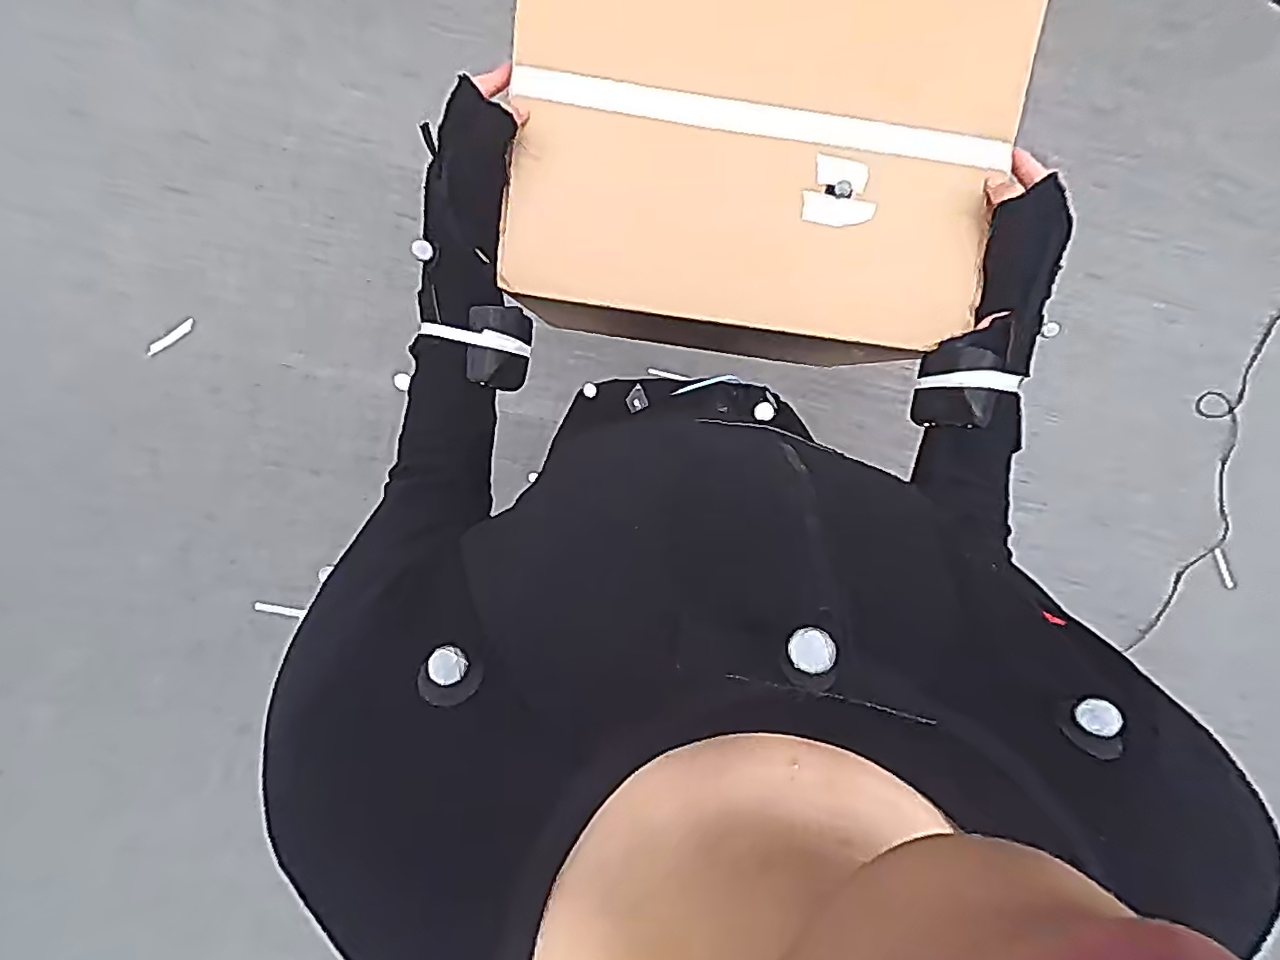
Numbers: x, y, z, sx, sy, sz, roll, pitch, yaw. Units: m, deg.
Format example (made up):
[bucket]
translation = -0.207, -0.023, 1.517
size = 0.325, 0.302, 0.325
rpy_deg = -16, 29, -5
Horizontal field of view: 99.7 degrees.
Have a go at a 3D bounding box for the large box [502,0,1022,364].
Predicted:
[large box]
translation = 0.087, -0.308, 0.589
size = 0.408, 0.320, 0.320
rpy_deg = 7, 101, -4
